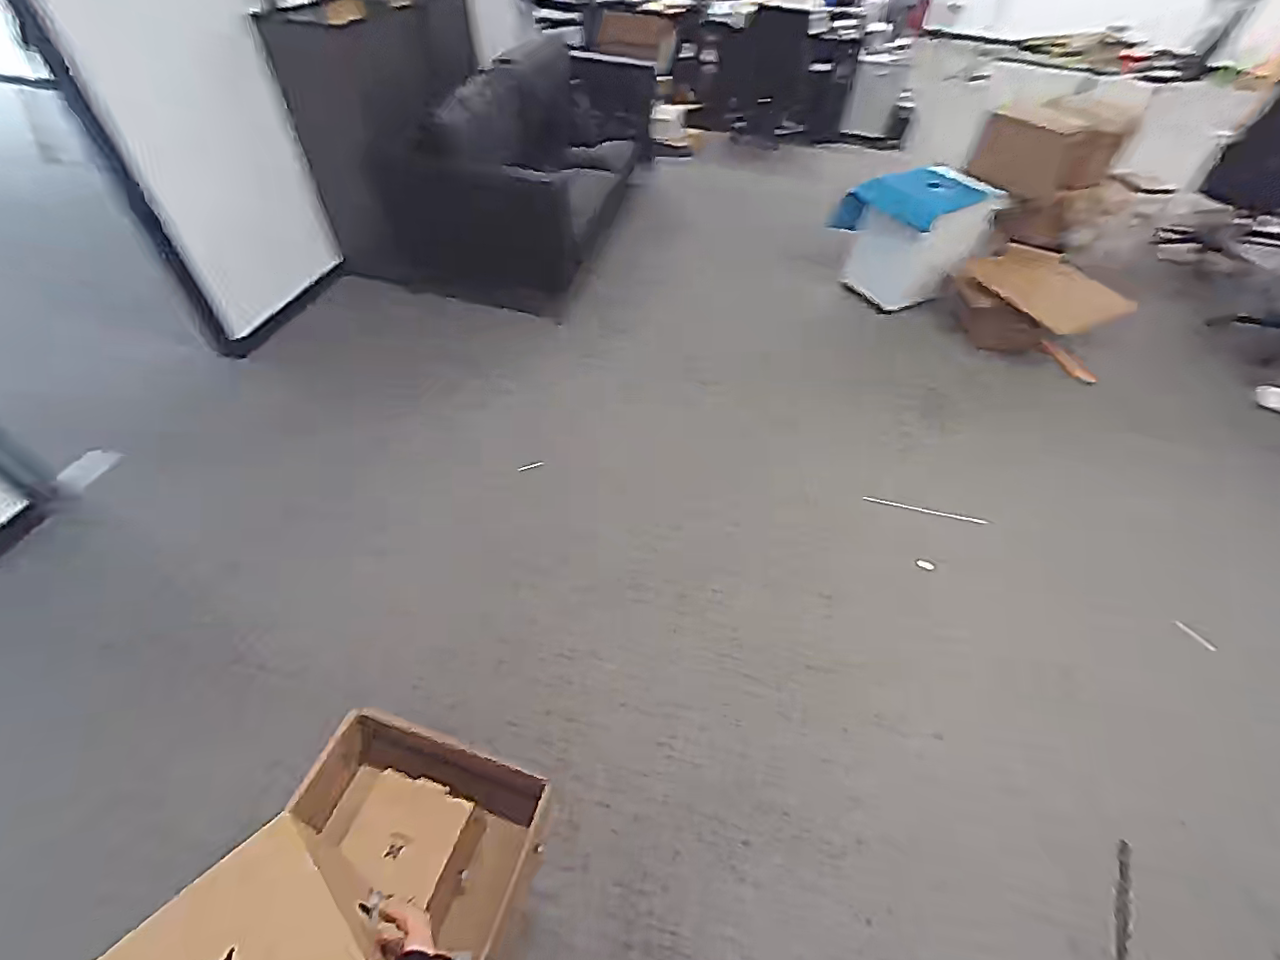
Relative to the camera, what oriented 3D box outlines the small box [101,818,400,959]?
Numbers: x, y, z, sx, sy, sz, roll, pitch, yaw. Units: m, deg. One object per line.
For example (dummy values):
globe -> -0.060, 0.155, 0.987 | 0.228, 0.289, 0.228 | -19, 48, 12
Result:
small box -> -0.321, 0.444, 0.459 | 0.168, 0.176, 0.179 | 29, 50, 32
